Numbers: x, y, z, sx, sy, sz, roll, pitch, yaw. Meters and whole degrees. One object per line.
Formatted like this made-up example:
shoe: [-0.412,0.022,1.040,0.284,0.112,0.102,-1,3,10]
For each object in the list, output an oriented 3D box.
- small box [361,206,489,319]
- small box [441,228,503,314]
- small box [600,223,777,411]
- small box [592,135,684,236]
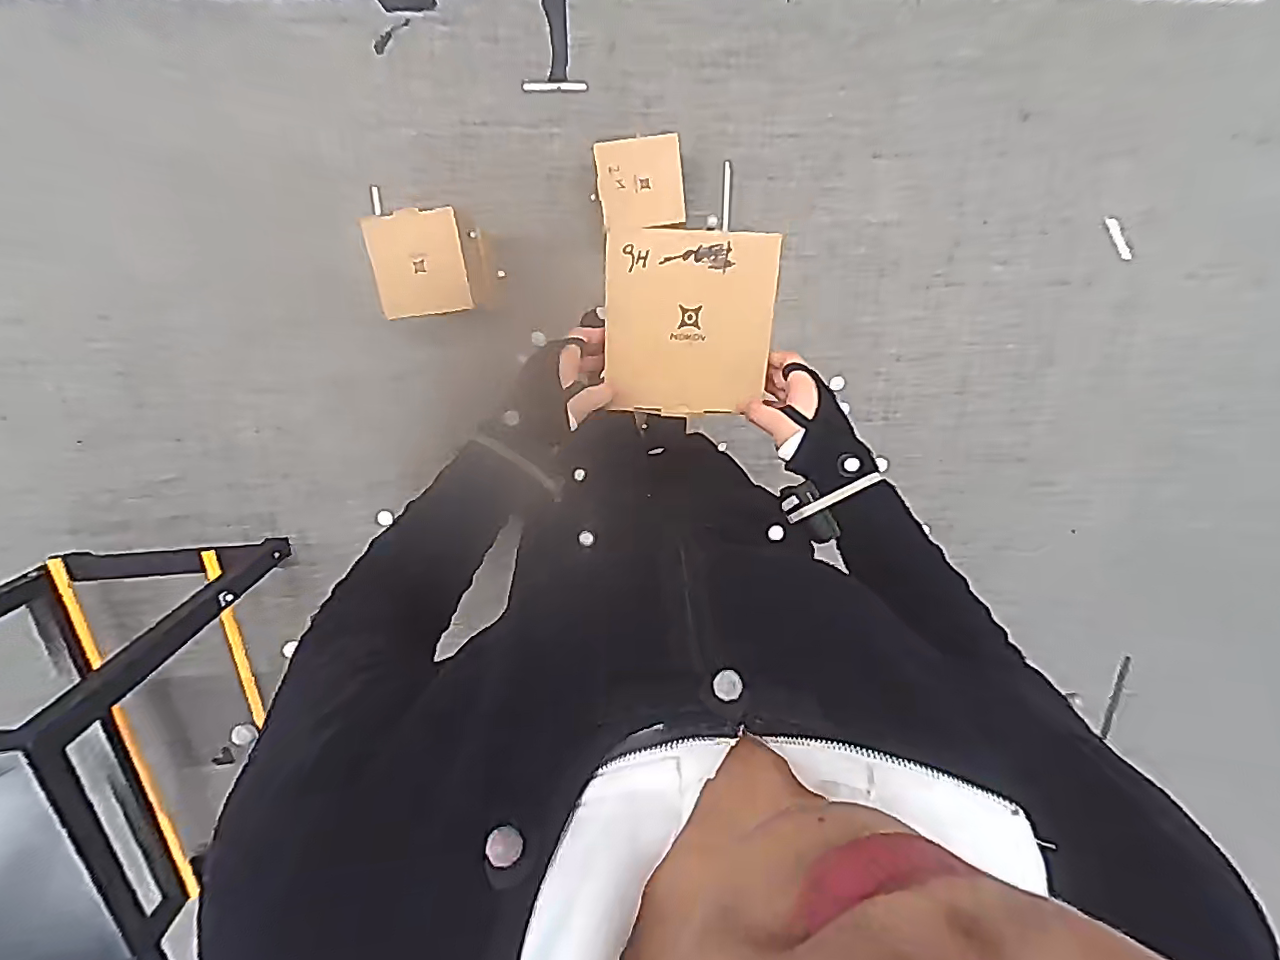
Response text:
small box: [-0.403,-0.415,1.046,0.168,0.176,0.179,-8,111,0]
small box: [-0.416,-0.459,1.203,0.179,0.176,0.168,-5,110,-3]
small box: [0.046,-0.188,0.609,0.168,0.176,0.179,2,113,0]
small box: [-0.009,-0.631,1.178,0.179,0.176,0.168,-8,110,-2]
